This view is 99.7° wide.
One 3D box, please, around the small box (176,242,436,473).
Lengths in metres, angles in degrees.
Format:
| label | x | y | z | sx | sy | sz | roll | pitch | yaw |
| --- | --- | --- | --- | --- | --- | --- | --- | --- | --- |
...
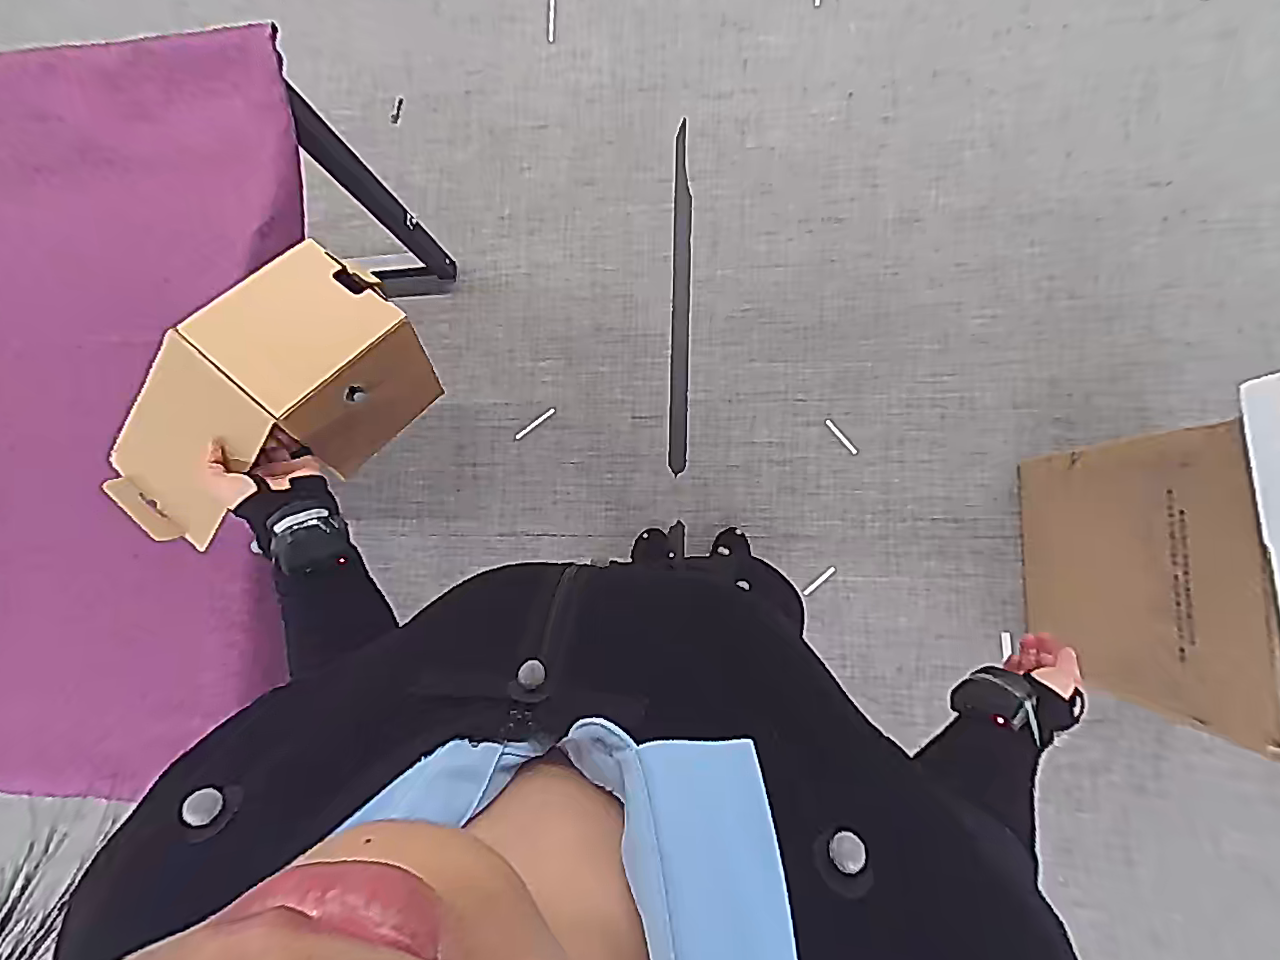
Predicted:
| label | x | y | z | sx | sy | sz | roll | pitch | yaw |
| --- | --- | --- | --- | --- | --- | --- | --- | --- | --- |
| small box | -0.380 | -0.137 | 0.655 | 0.168 | 0.176 | 0.179 | 38 | 70 | 9 |
